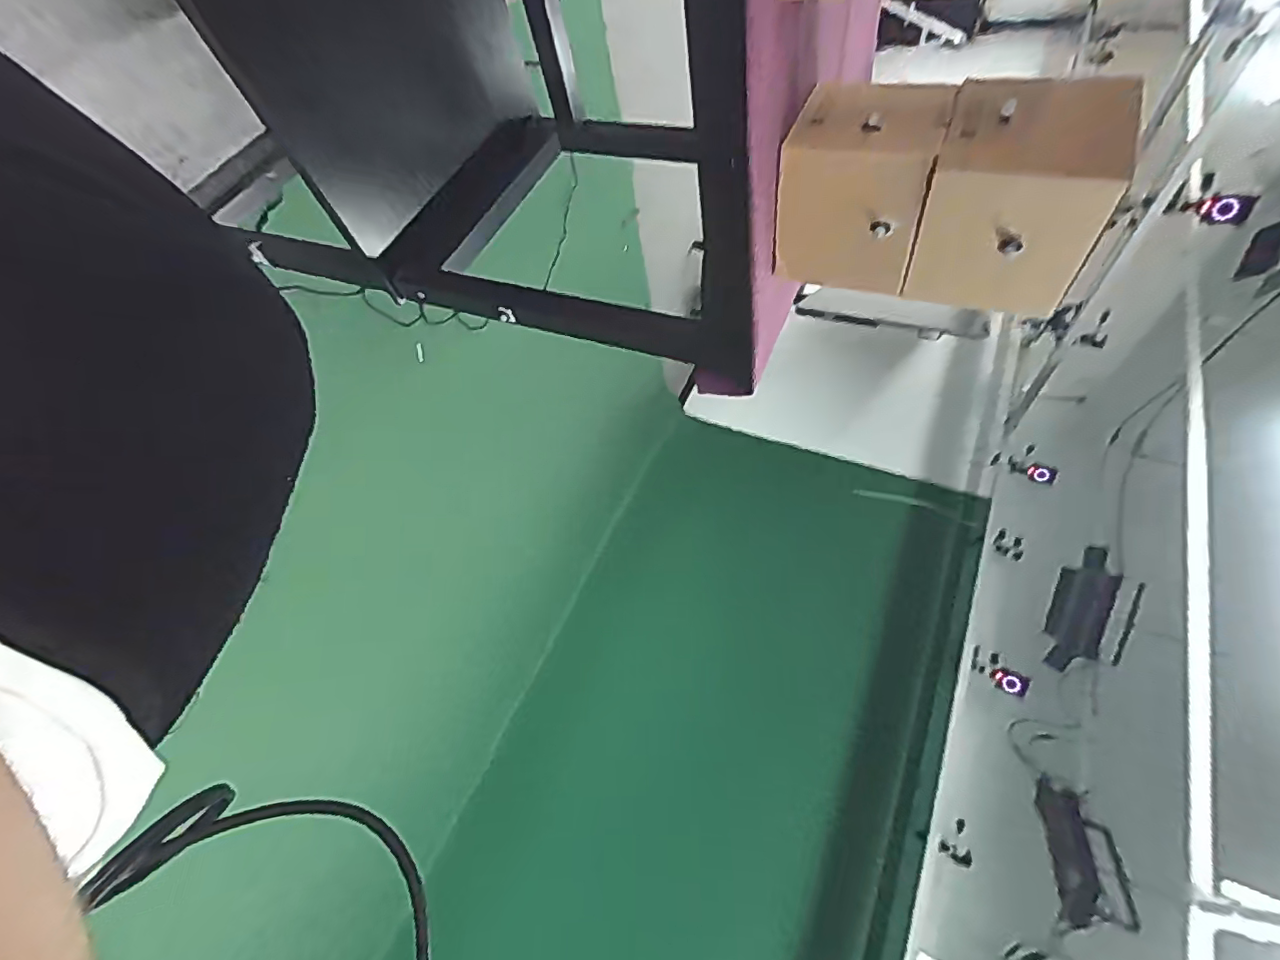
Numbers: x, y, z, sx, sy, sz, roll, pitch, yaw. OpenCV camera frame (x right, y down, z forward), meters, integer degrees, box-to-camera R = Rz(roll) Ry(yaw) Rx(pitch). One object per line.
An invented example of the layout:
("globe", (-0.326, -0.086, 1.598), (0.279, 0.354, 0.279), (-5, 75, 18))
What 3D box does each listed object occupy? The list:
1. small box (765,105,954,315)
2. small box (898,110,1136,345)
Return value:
("small box", (0.261, -0.335, 0.671), (0.168, 0.176, 0.179), (-61, 157, -28))
("small box", (0.406, -0.287, 0.613), (0.168, 0.176, 0.179), (-64, 157, -22))
